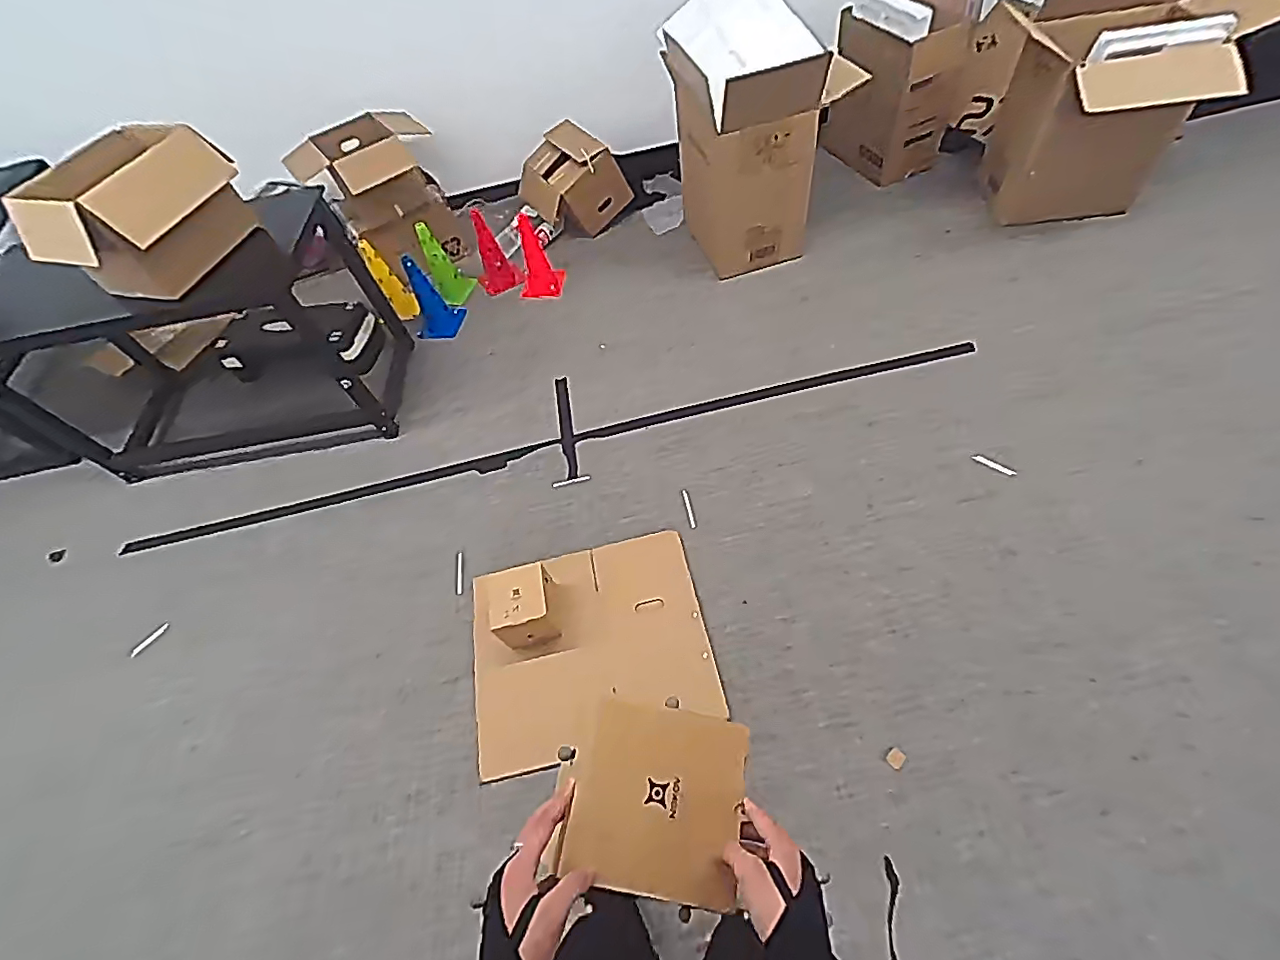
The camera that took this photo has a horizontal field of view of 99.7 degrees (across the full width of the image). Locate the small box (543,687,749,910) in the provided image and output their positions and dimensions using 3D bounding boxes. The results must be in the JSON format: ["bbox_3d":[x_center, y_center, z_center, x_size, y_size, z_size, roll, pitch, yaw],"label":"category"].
[{"bbox_3d":[0.001,0.346,0.599,0.179,0.176,0.168,17,58,-7],"label":"small box"}]

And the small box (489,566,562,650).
[{"bbox_3d":[-0.341,0.385,1.615,0.168,0.176,0.179,-15,55,0],"label":"small box"}]
